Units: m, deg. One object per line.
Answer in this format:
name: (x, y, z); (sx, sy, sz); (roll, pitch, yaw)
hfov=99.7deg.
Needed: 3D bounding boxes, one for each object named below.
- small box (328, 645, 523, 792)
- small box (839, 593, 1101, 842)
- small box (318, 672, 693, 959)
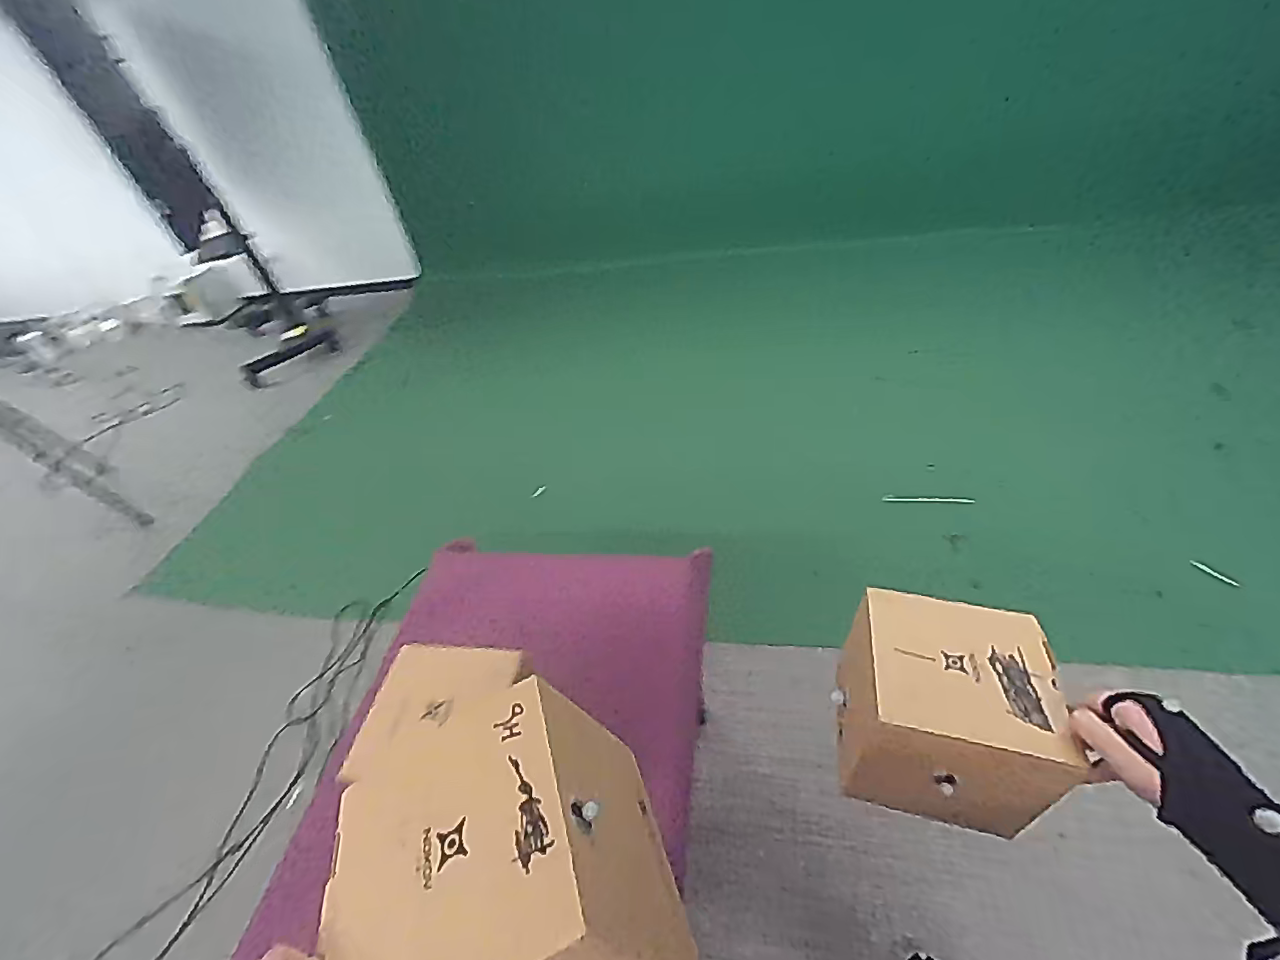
small box: (-0.235, 0.330, 0.684); (0.179, 0.176, 0.168); (-1, 43, 13)
small box: (0.324, 0.252, 0.576); (0.179, 0.176, 0.168); (10, 40, 13)
small box: (-0.089, 0.280, 0.384); (0.179, 0.176, 0.168); (-30, 38, 3)
